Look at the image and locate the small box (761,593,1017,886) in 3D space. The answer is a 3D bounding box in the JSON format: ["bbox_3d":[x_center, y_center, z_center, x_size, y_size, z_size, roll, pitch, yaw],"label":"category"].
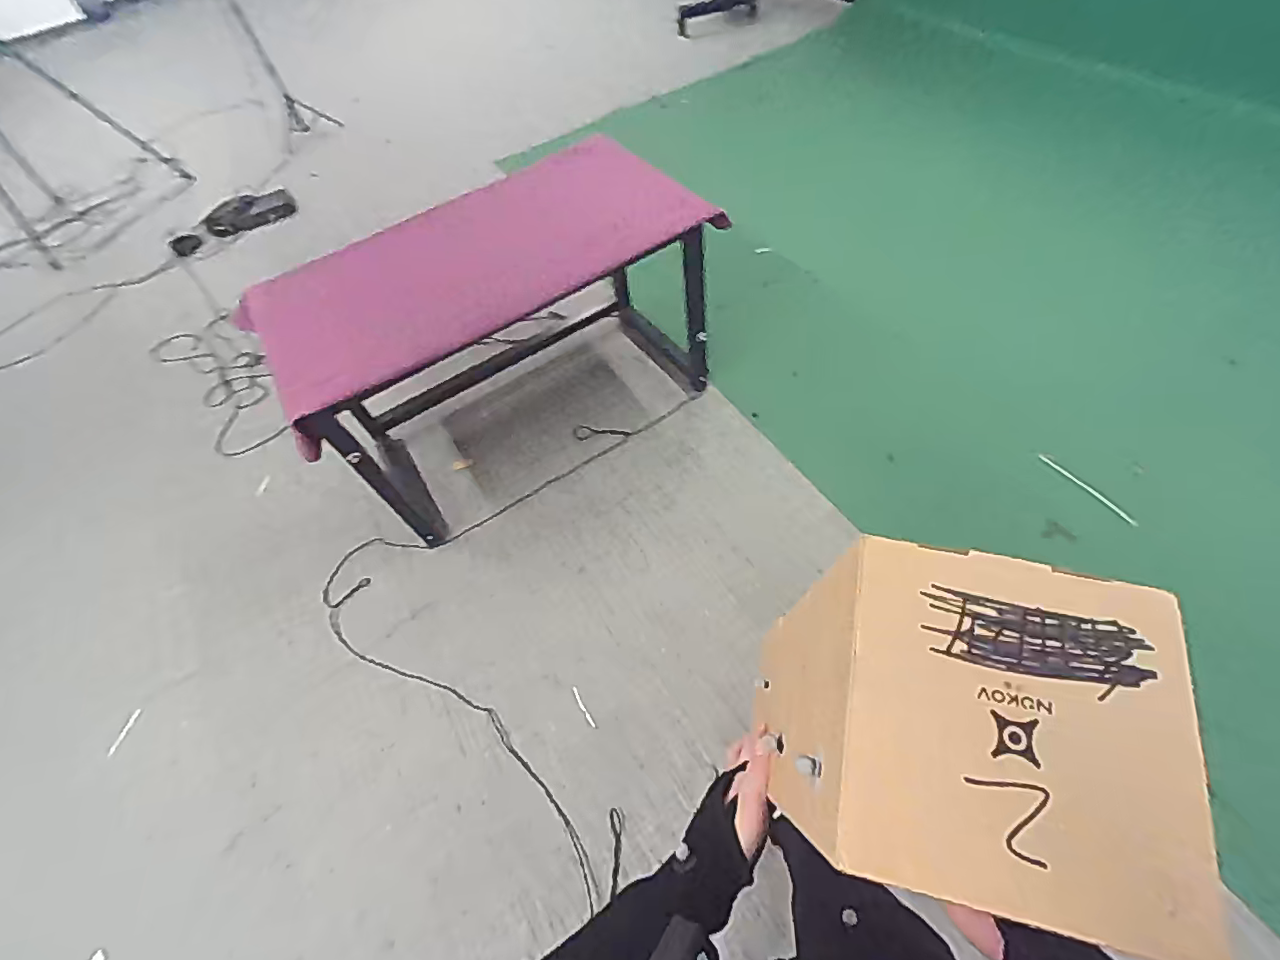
[{"bbox_3d":[0.209,0.223,0.492,0.168,0.176,0.179,11,66,9],"label":"small box"}]
